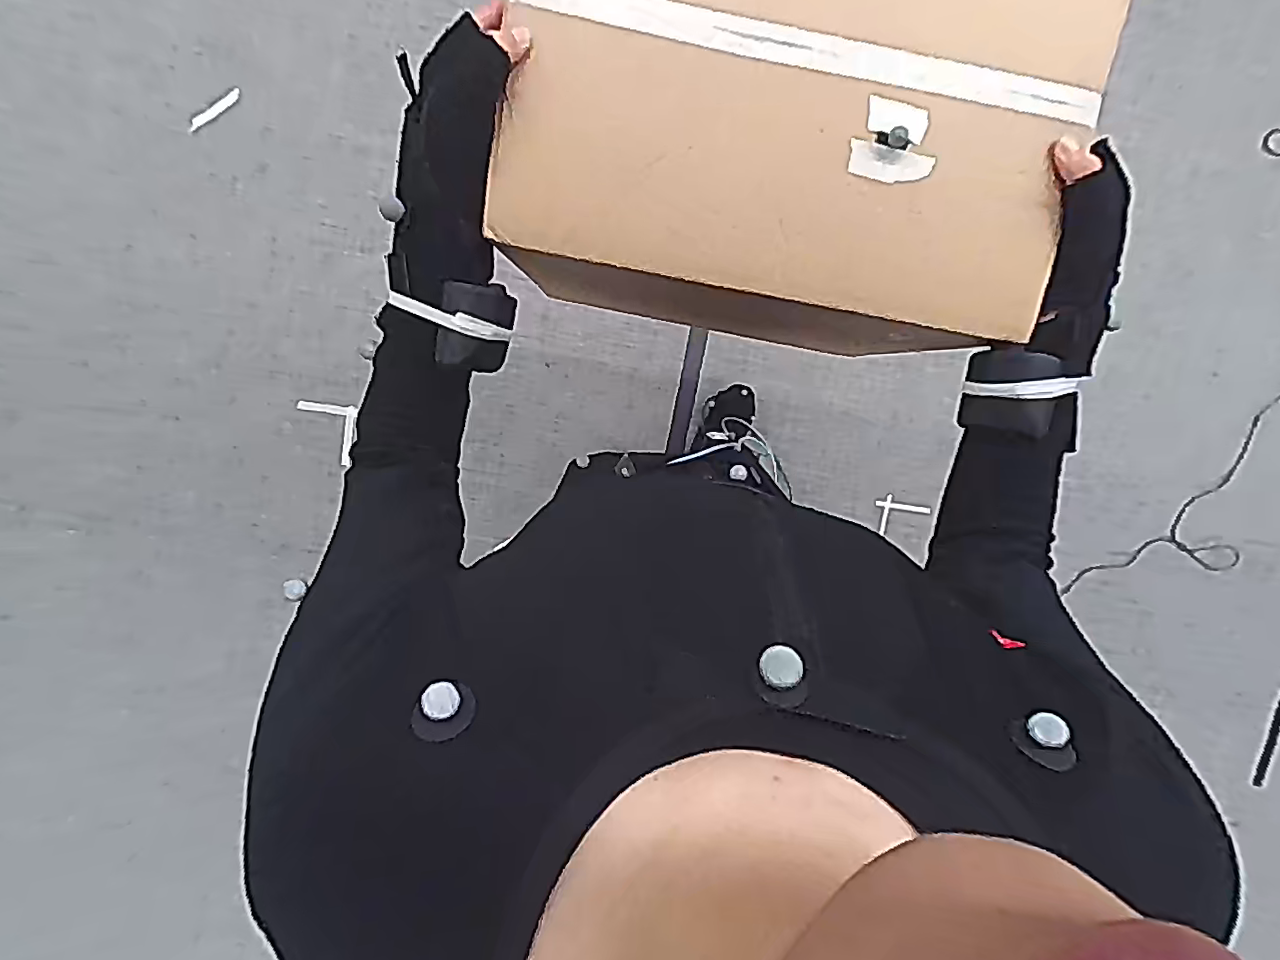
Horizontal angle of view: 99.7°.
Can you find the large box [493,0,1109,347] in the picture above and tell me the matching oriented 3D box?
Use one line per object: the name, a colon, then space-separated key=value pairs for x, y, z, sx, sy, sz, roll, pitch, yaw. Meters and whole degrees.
large box: x=0.105 y=-0.321 z=0.517 sx=0.408 sy=0.320 sz=0.320 roll=10 pitch=102 yaw=-4
